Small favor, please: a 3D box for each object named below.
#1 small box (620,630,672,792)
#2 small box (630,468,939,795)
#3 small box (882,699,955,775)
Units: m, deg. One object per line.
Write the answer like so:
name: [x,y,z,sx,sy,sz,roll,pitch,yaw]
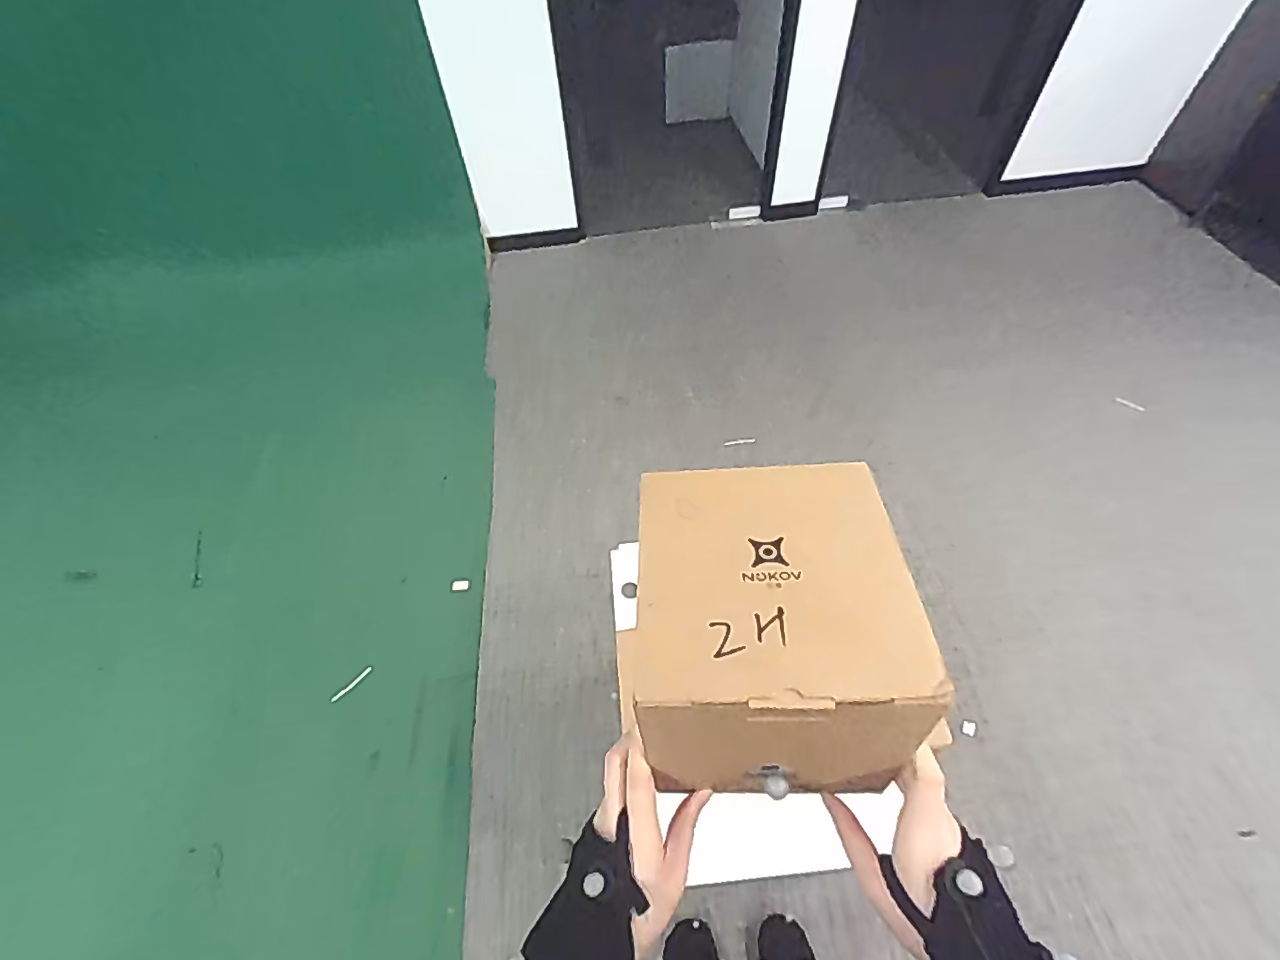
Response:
small box: [0.060,0.318,0.753,0.168,0.176,0.179,-5,54,-1]
small box: [0.085,0.112,0.402,0.168,0.176,0.179,-3,46,6]
small box: [0.291,0.302,0.752,0.168,0.176,0.179,-5,54,1]
